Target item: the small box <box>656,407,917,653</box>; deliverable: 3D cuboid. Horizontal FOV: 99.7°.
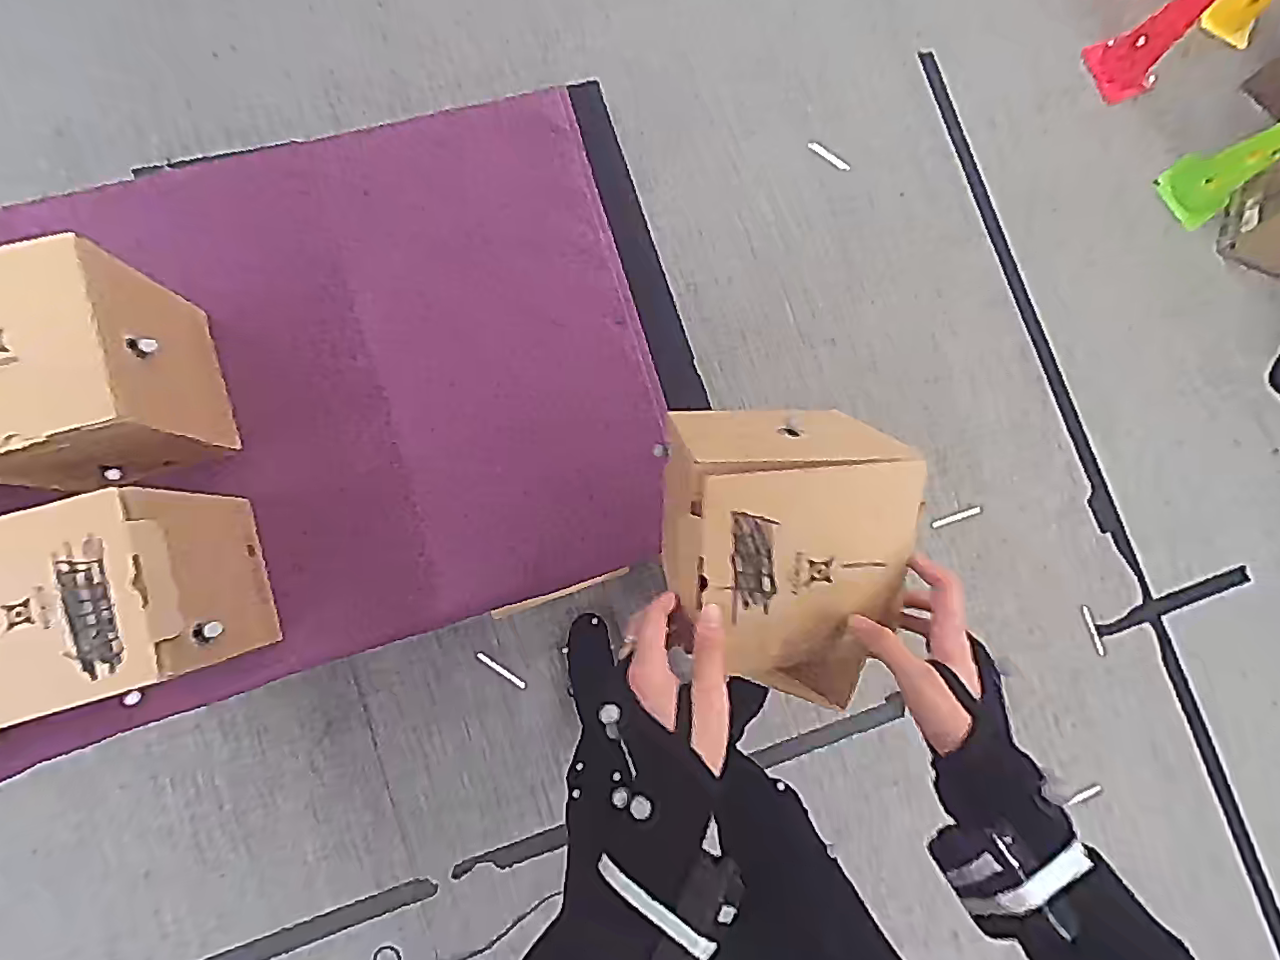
[{"bbox_3d":[0.107,0.032,0.482,0.179,0.176,0.168,-2,110,-5],"label":"small box"}]
